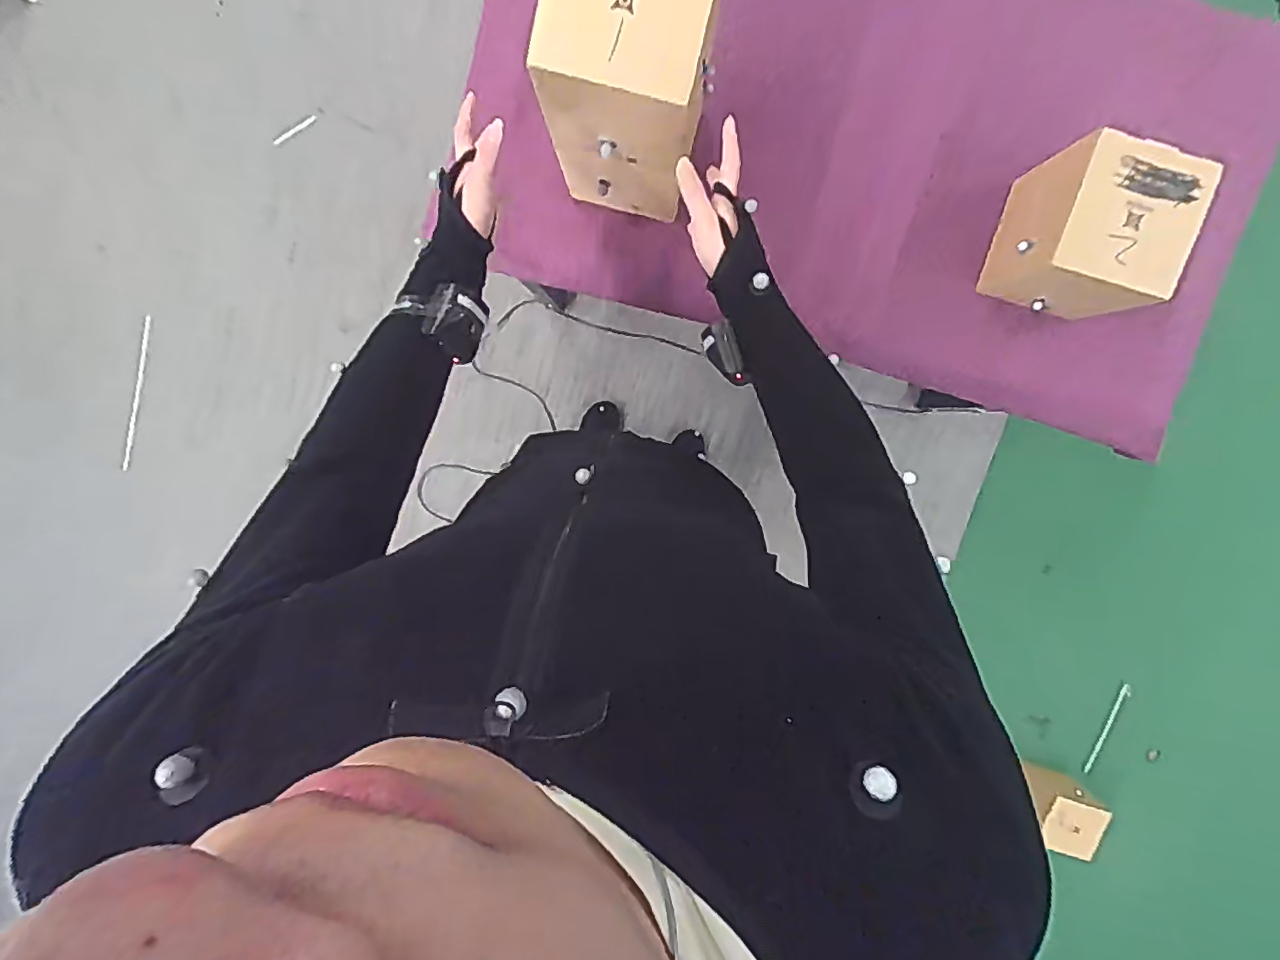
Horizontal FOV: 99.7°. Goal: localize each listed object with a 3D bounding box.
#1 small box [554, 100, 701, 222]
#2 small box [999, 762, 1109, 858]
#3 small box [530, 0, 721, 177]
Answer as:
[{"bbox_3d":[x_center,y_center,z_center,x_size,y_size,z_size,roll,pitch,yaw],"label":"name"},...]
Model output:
[{"bbox_3d":[-0.010,-0.491,0.759,0.168,0.176,0.179,13,96,-2],"label":"small box"},{"bbox_3d":[1.266,1.006,1.664,0.179,0.176,0.168,18,96,-2],"label":"small box"},{"bbox_3d":[-0.009,-0.475,0.595,0.168,0.176,0.179,14,97,-1],"label":"small box"}]
